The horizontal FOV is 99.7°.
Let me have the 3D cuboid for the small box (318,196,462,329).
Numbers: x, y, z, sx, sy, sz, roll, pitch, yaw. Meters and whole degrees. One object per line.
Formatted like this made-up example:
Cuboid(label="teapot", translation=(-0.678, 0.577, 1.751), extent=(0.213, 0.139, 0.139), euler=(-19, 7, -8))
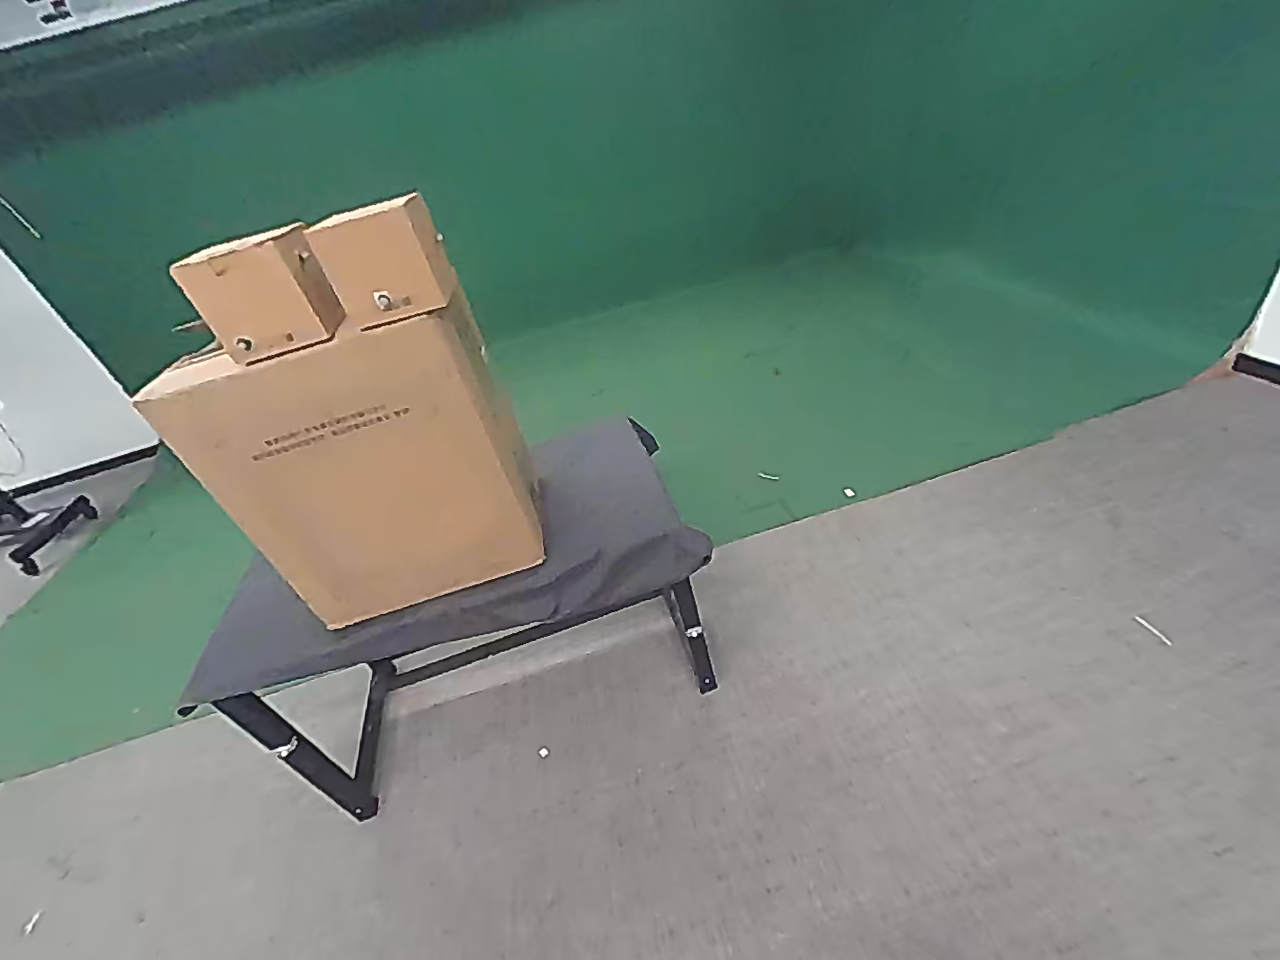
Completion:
Cuboid(label="small box", translation=(-0.433, -0.392, 0.973), extent=(0.168, 0.176, 0.179), euler=(-17, 36, -1))
